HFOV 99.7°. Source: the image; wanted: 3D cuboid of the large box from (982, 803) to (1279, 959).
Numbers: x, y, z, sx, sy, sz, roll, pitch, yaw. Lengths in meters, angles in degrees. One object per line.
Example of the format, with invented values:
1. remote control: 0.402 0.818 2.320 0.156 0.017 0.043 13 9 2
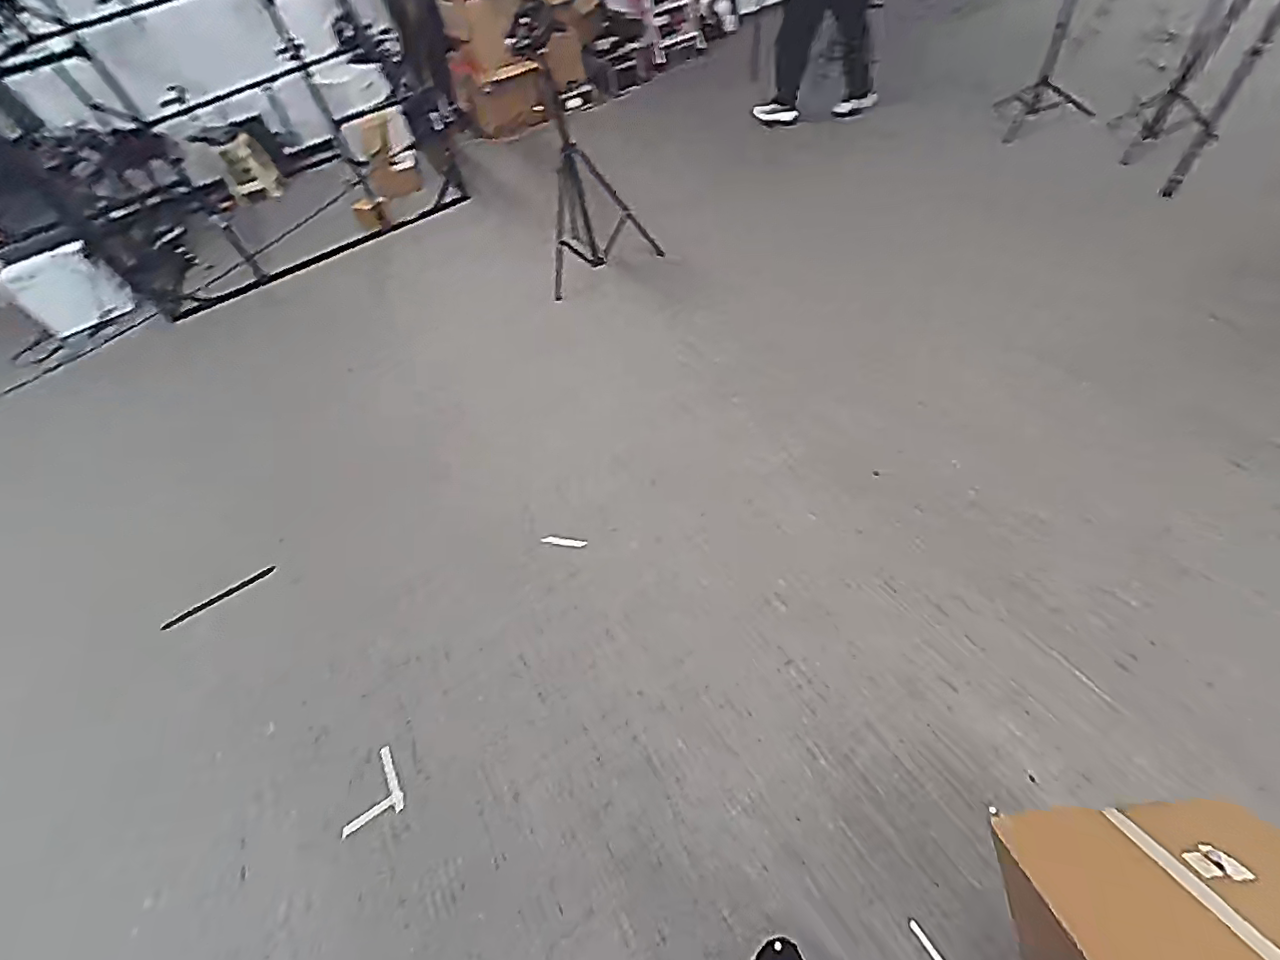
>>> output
1. large box: 0.654 0.623 0.583 0.320 0.408 0.320 -11 84 11
